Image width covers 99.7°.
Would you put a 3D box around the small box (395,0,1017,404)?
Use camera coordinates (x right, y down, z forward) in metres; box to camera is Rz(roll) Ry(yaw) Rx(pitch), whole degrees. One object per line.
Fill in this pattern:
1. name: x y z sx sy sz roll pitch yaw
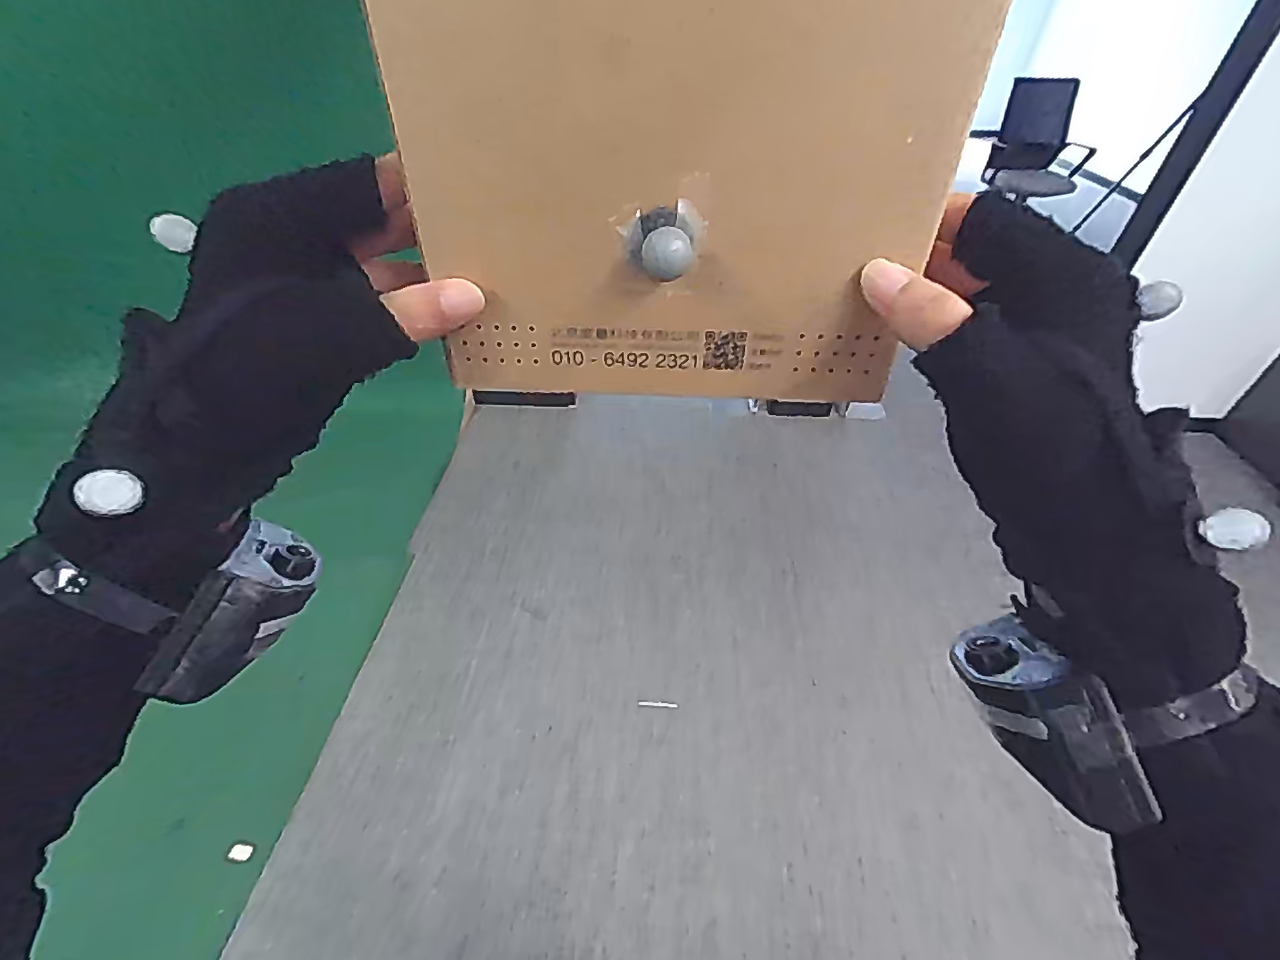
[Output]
1. small box: 0.016 -0.149 0.220 0.168 0.176 0.179 2 40 3
